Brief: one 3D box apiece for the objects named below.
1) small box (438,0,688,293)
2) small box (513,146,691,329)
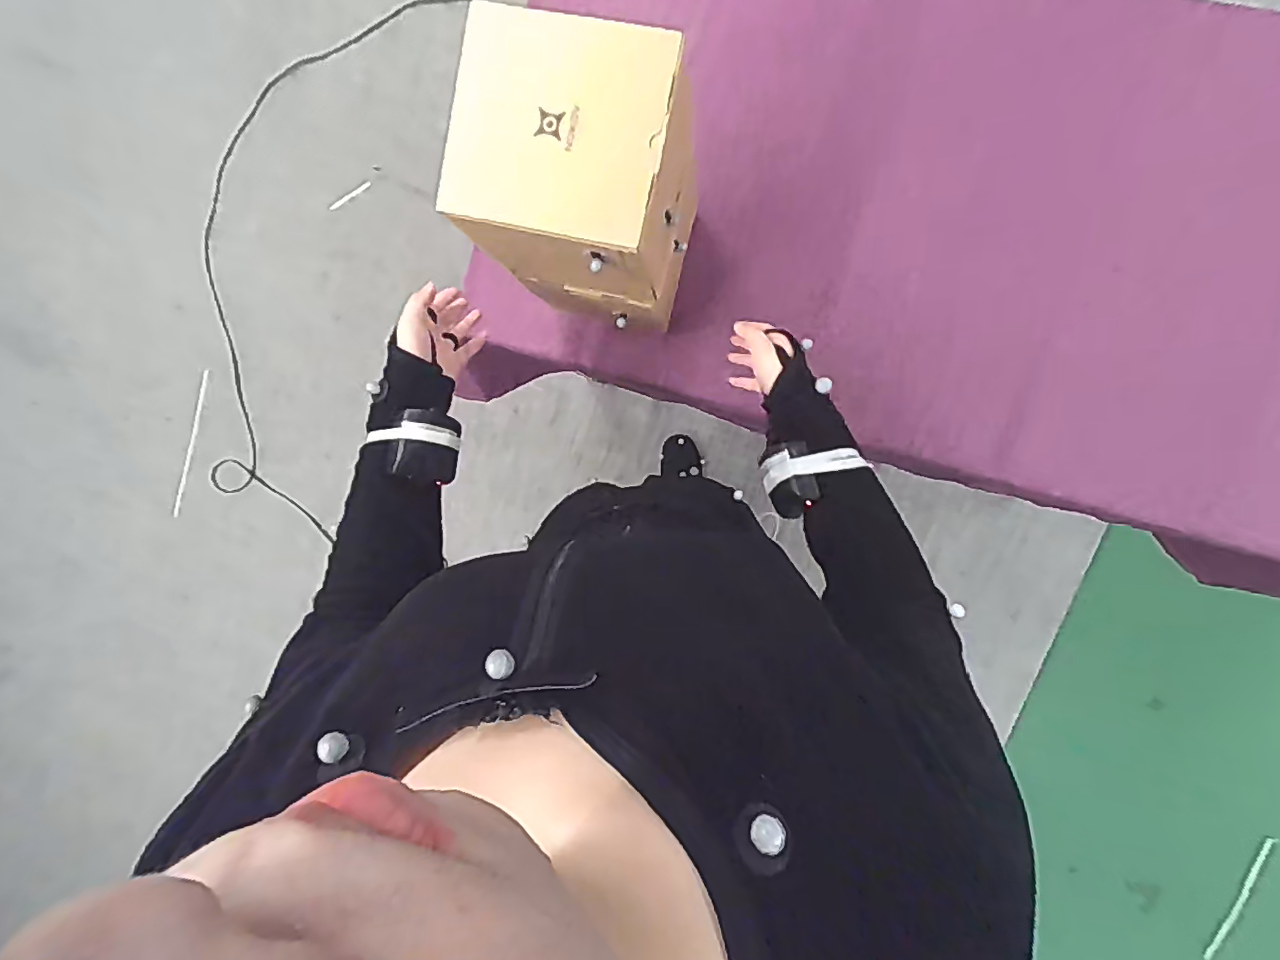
[{"bbox_3d":[-0.057,-0.290,0.508,0.179,0.176,0.168,13,96,4],"label":"small box"},{"bbox_3d":[-0.035,-0.301,0.669,0.168,0.176,0.179,16,96,4],"label":"small box"}]
